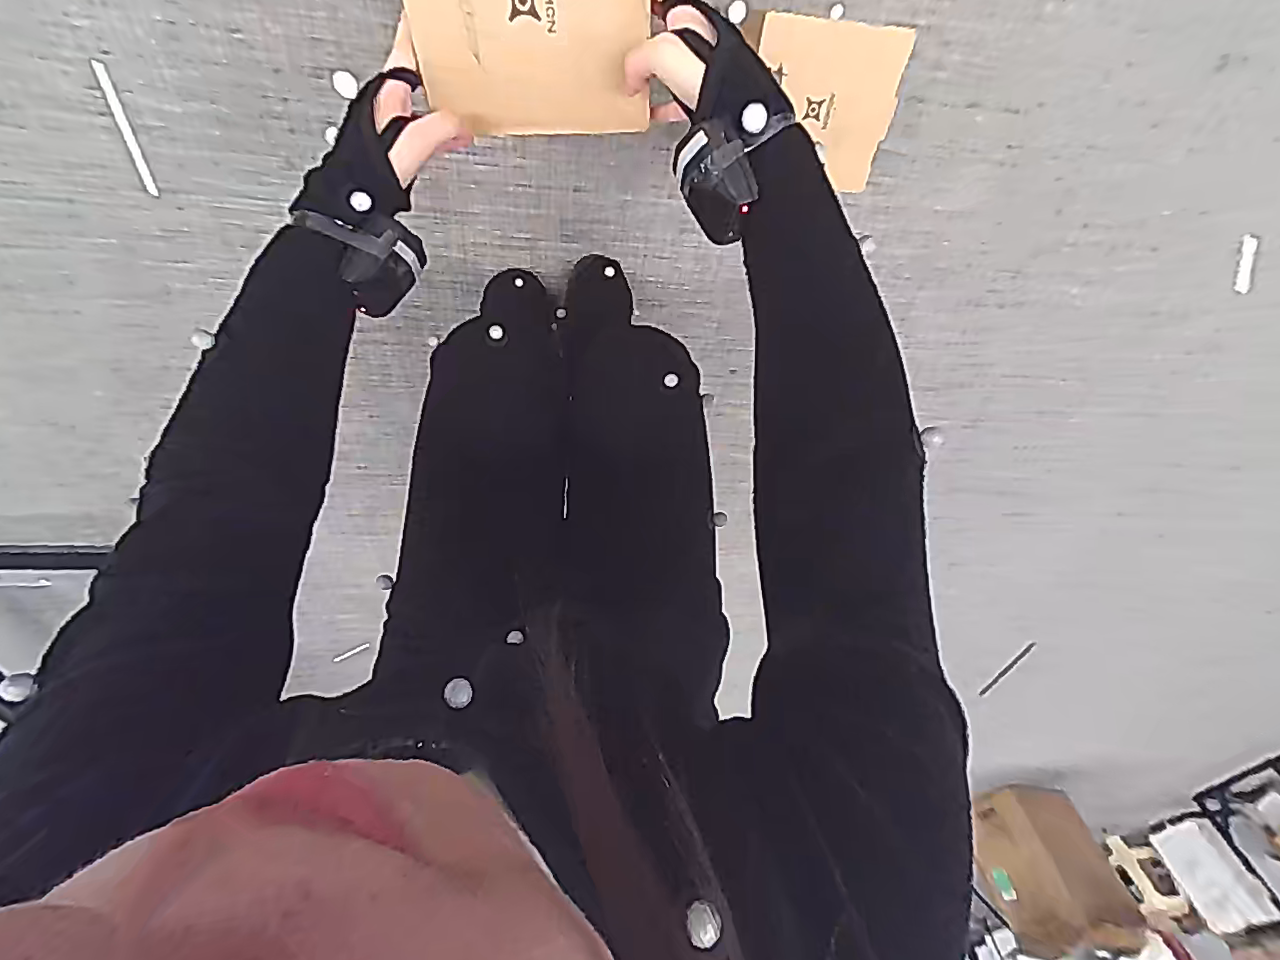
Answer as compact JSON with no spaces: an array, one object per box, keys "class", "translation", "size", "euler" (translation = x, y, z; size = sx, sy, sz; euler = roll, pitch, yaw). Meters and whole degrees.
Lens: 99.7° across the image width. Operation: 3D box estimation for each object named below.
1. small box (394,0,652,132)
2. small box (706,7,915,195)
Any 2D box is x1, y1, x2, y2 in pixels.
[{"class":"small box","translation":[-0.084,-0.386,0.416],"size":[0.179,0.176,0.168],"euler":[-2,136,-2]},{"class":"small box","translation":[0.196,-0.478,0.683],"size":[0.179,0.176,0.168],"euler":[0,132,-9]}]
